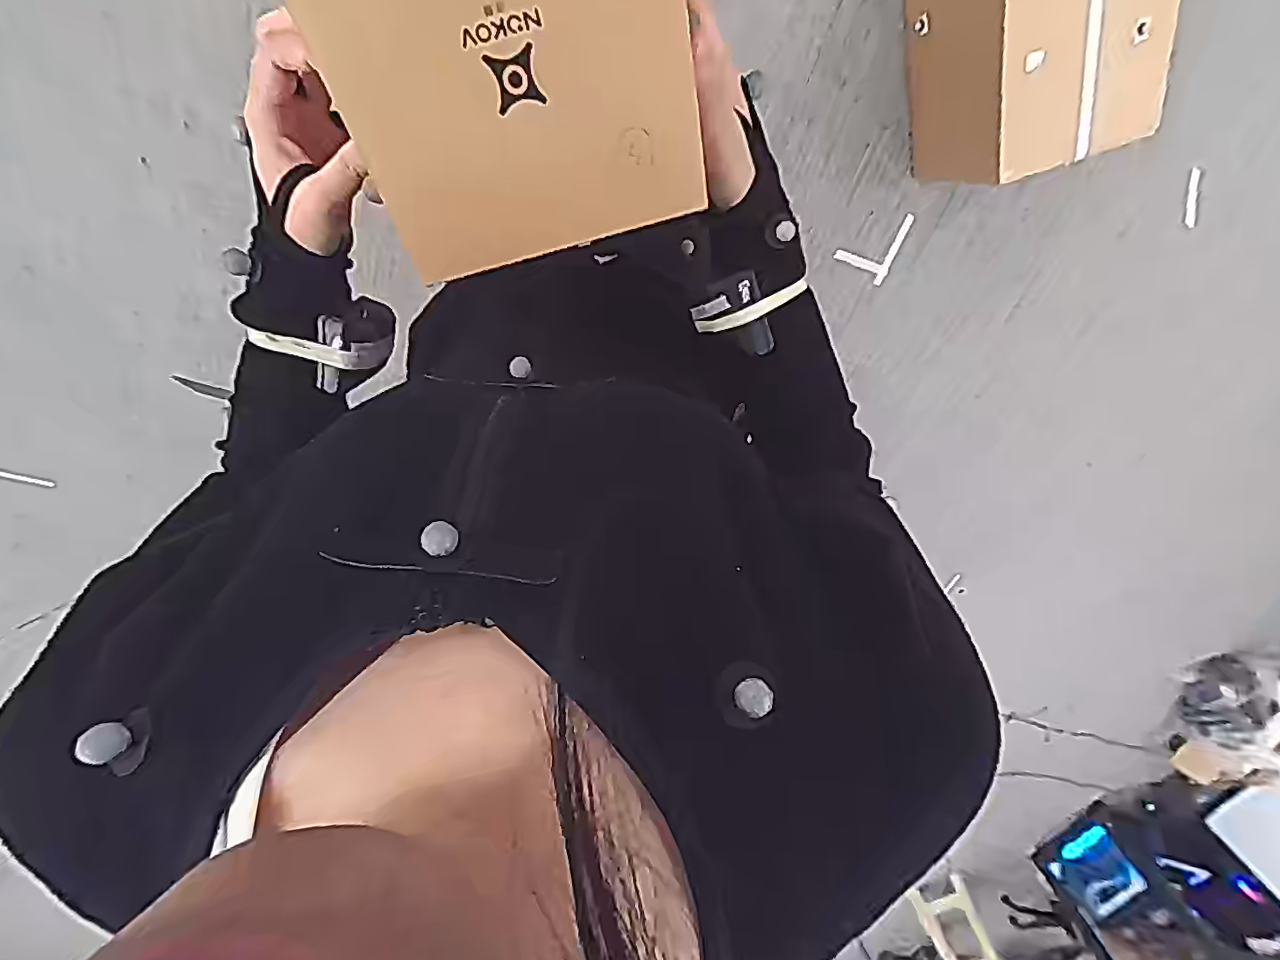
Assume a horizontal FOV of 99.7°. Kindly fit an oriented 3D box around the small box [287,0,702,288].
[{"bbox_3d":[-0.073,-0.242,0.307,0.168,0.176,0.179,-16,132,0],"label":"small box"}]

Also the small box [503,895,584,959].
[{"bbox_3d":[-0.246,1.173,1.353,0.168,0.176,0.179,15,118,-15],"label":"small box"}]
